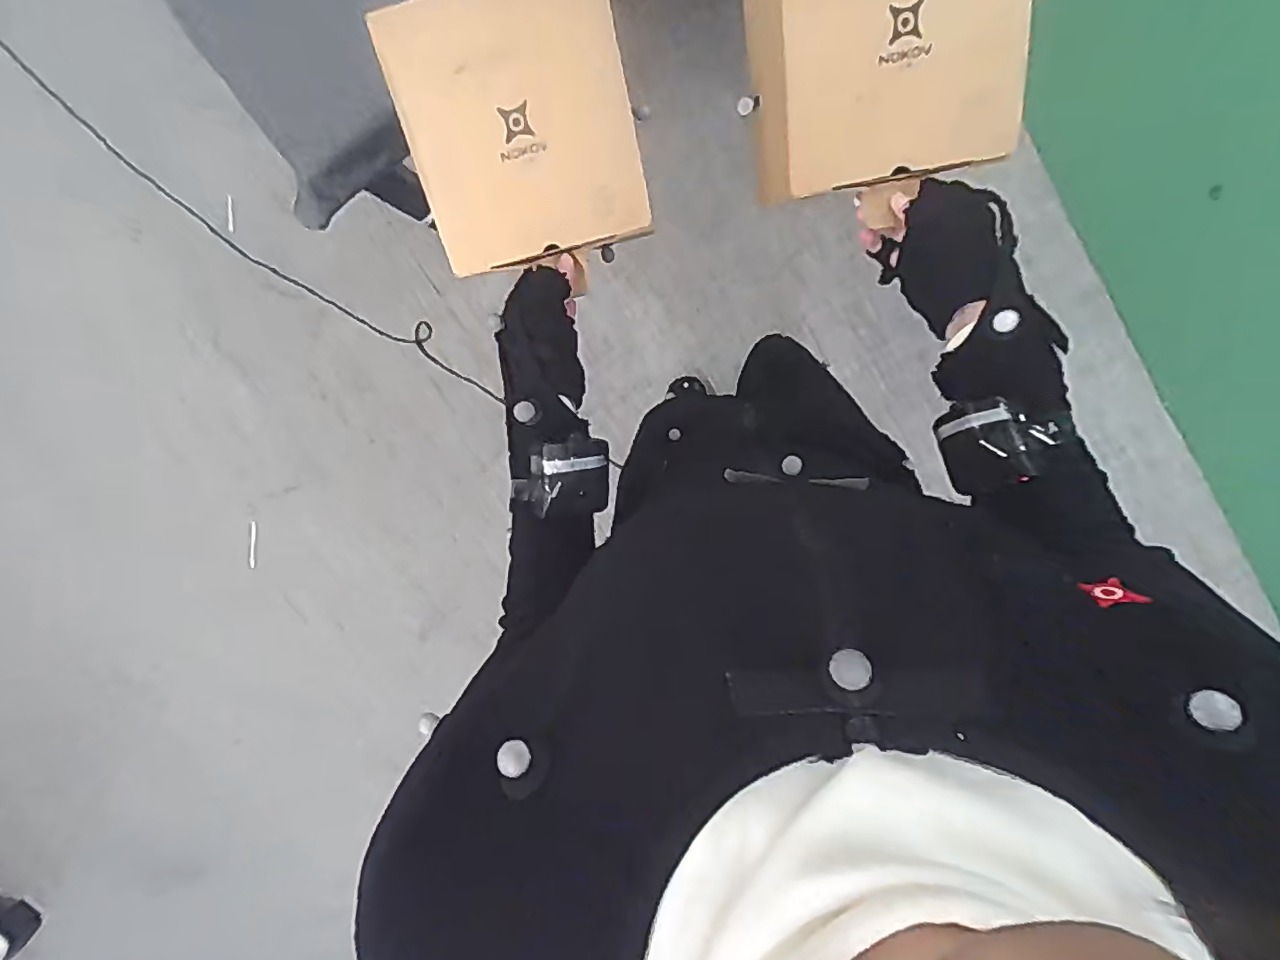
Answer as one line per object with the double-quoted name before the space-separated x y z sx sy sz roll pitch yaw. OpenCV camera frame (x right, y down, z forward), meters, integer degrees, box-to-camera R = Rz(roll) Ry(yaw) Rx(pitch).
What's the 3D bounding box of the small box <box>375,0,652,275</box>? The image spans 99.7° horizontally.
"small box" -0.086 -0.293 0.476 0.168 0.176 0.179 -13 112 7
